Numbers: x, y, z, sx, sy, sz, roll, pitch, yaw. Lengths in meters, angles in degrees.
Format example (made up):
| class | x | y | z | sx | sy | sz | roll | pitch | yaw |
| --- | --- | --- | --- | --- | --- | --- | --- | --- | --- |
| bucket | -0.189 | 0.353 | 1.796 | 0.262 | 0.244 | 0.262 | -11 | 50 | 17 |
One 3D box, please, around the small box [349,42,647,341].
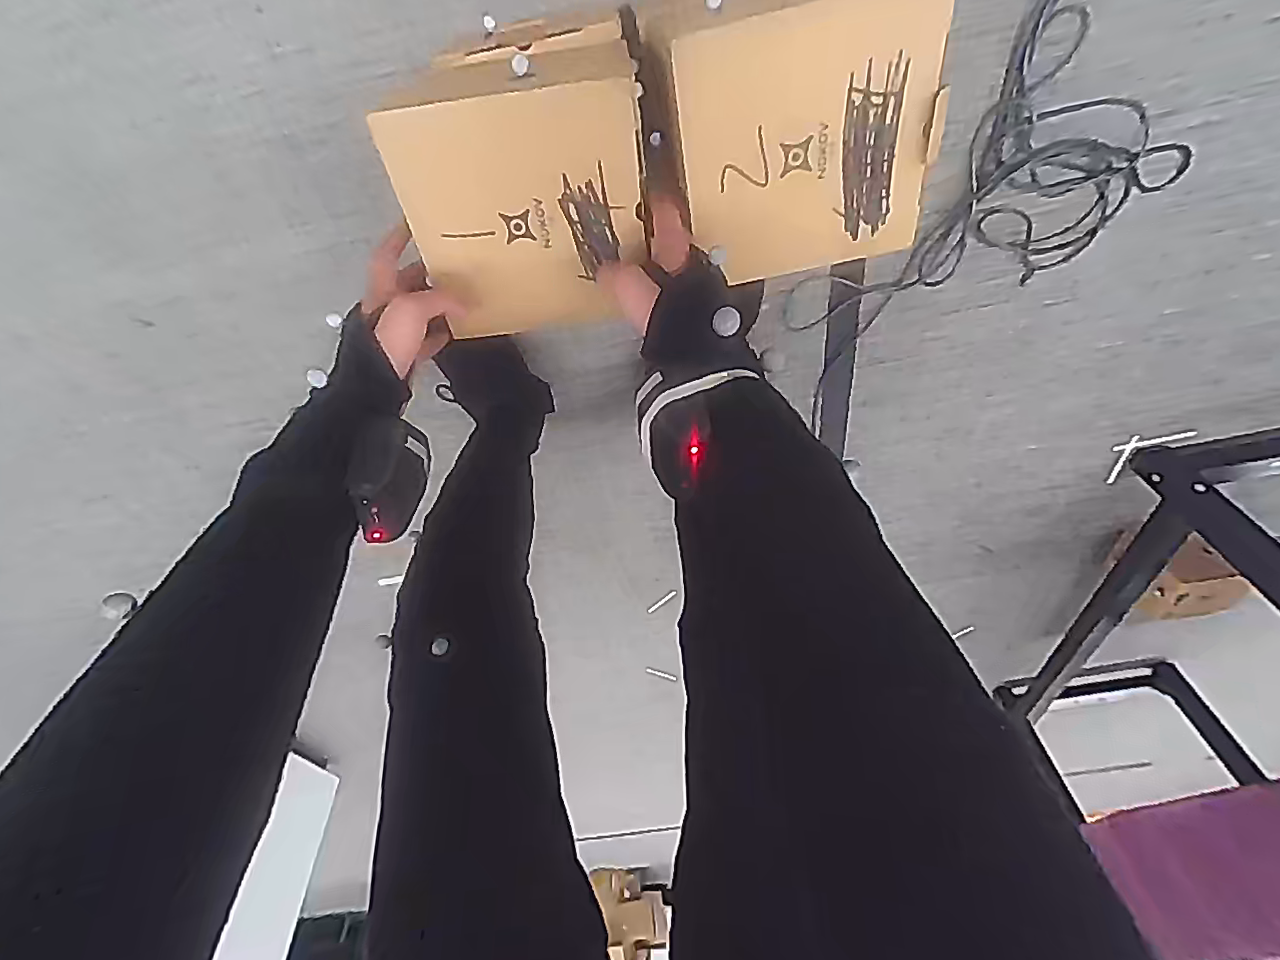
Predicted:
| class | x | y | z | sx | sy | sz | roll | pitch | yaw |
| --- | --- | --- | --- | --- | --- | --- | --- | --- | --- |
| small box | -0.091 | -0.237 | 0.443 | 0.179 | 0.176 | 0.168 | -5 | 134 | 4 |
